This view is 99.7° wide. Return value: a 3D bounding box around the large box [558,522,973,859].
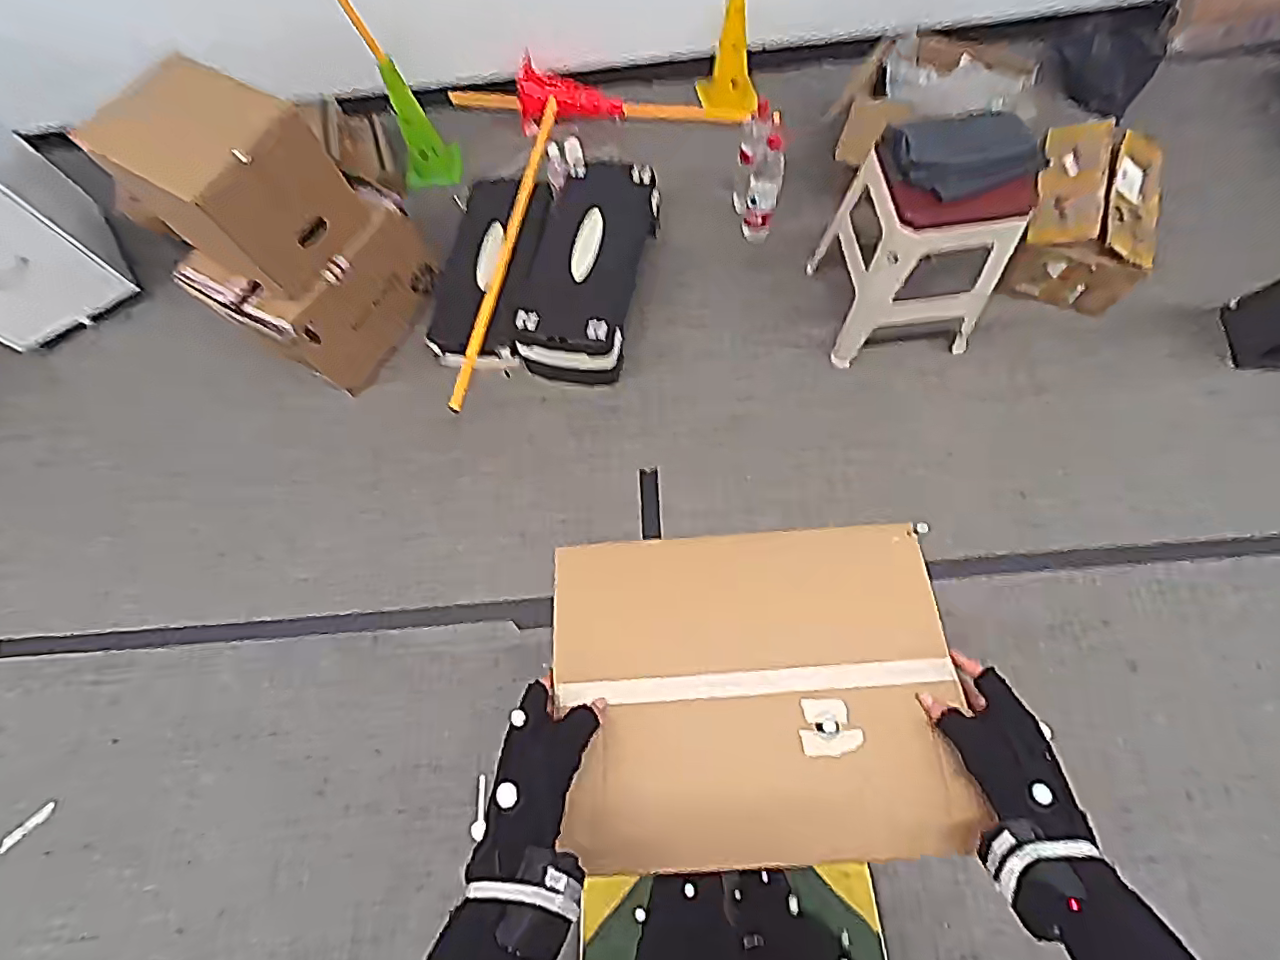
[{"bbox_3d":[0.116,0.266,0.711,0.408,0.320,0.320,-4,67,0],"label":"large box"}]
